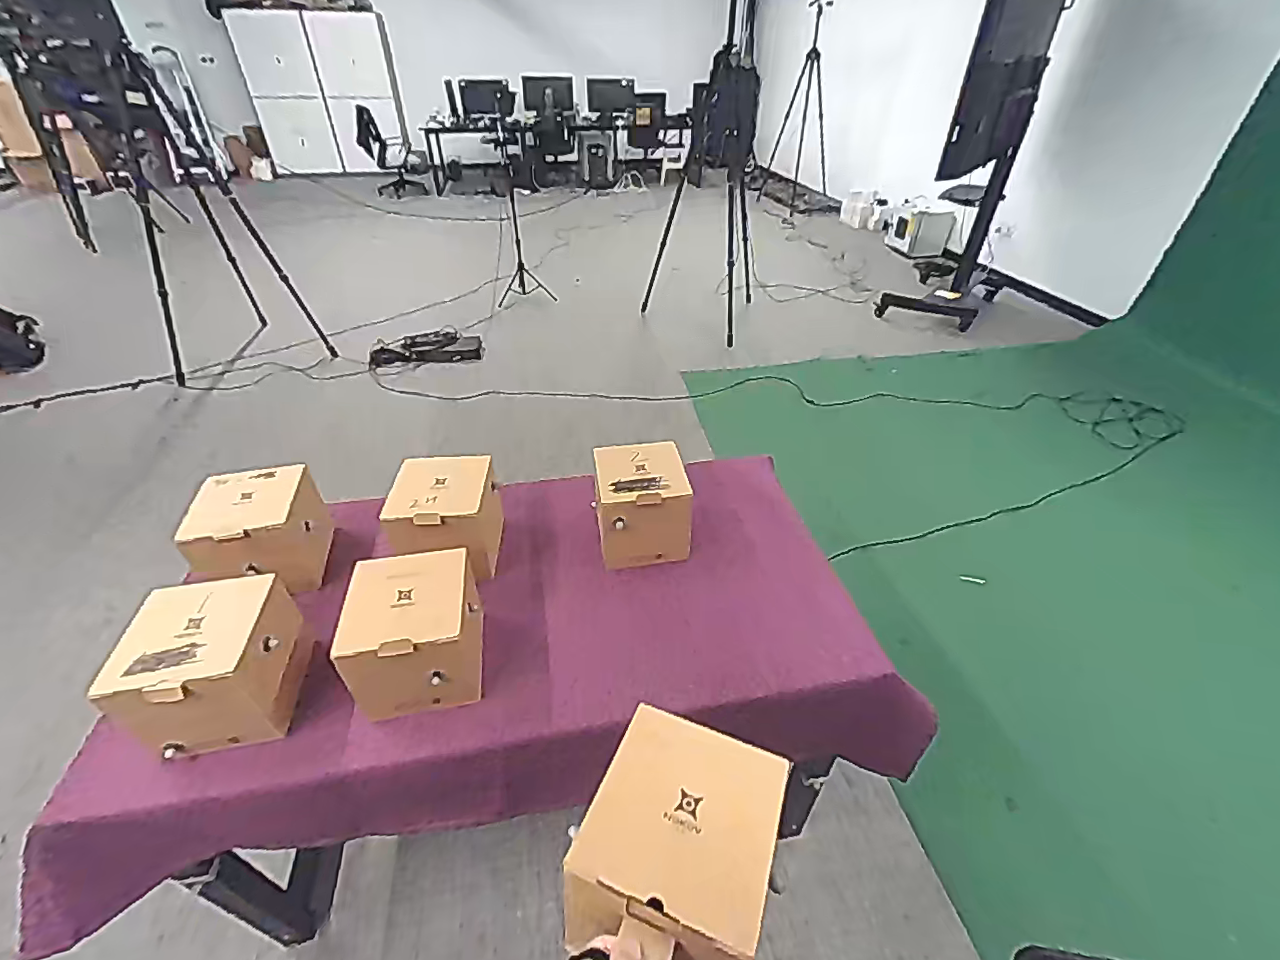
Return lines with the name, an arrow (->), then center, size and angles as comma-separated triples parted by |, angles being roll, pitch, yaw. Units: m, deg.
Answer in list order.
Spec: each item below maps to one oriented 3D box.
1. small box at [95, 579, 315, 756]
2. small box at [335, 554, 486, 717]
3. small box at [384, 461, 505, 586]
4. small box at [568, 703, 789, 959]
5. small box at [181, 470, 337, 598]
small box -> -0.604, 0.275, 0.785 | 0.168, 0.176, 0.179 | -7, 37, -10
small box -> -0.335, 0.241, 0.830 | 0.168, 0.176, 0.179 | -6, 38, -9
small box -> -0.358, 0.082, 1.030 | 0.168, 0.176, 0.179 | -3, 39, -3
small box -> 0.038, 0.371, 0.541 | 0.168, 0.176, 0.179 | 15, 33, 17
small box -> -0.682, 0.109, 0.996 | 0.168, 0.176, 0.179 | -9, 40, -12
